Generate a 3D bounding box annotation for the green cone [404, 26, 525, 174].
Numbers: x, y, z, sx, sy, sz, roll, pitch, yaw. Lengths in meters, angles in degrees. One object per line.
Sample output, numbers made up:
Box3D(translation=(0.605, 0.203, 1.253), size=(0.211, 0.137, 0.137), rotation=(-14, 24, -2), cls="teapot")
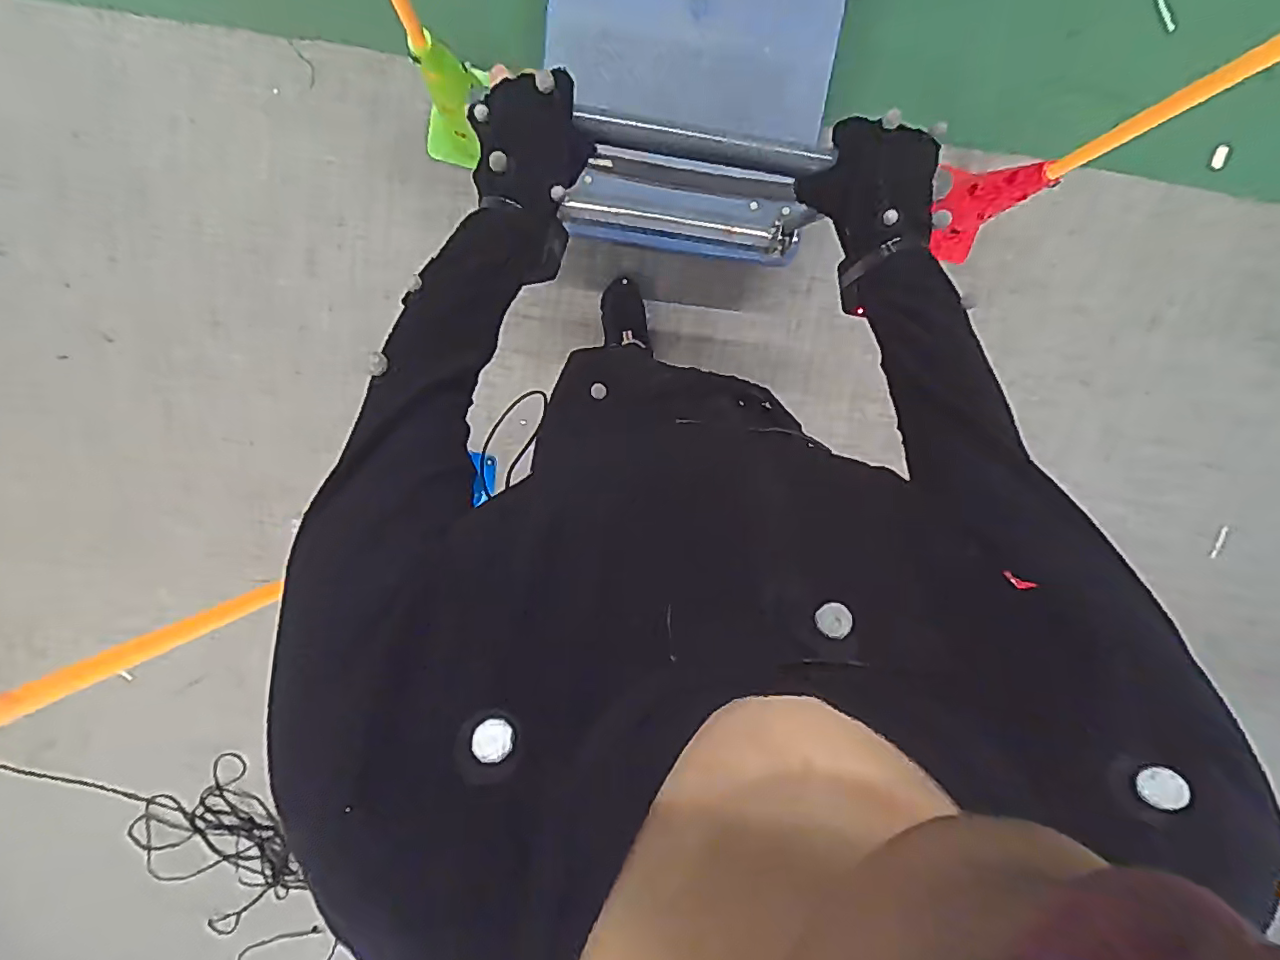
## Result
Box3D(translation=(-0.374, -0.790, 1.082), size=(0.202, 0.368, 0.200), rotation=(12, 104, -4), cls="green cone")
